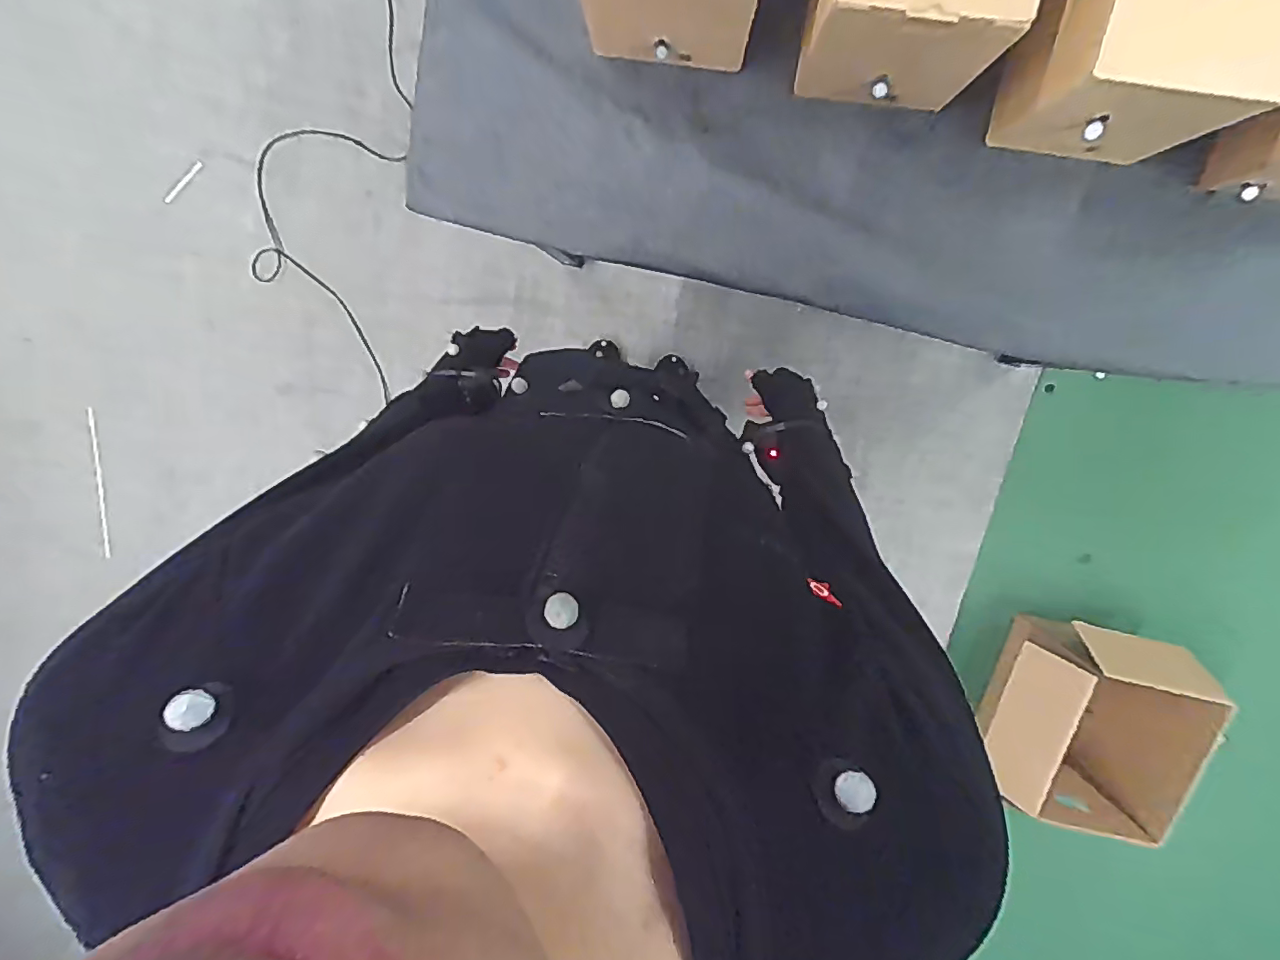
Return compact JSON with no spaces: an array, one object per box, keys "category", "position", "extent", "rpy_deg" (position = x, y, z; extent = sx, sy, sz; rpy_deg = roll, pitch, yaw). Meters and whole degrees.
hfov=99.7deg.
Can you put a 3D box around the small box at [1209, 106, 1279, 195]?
[{"category":"small box","position":[0.708,-0.374,0.503],"extent":[0.168,0.176,0.179],"rpy_deg":[8,103,2]}]

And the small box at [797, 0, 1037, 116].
[{"category":"small box","position":[0.256,-0.482,0.506],"extent":[0.168,0.176,0.179],"rpy_deg":[8,104,2]}]

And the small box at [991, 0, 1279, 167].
[{"category":"small box","position":[0.472,-0.421,0.509],"extent":[0.168,0.176,0.179],"rpy_deg":[9,103,2]}]
